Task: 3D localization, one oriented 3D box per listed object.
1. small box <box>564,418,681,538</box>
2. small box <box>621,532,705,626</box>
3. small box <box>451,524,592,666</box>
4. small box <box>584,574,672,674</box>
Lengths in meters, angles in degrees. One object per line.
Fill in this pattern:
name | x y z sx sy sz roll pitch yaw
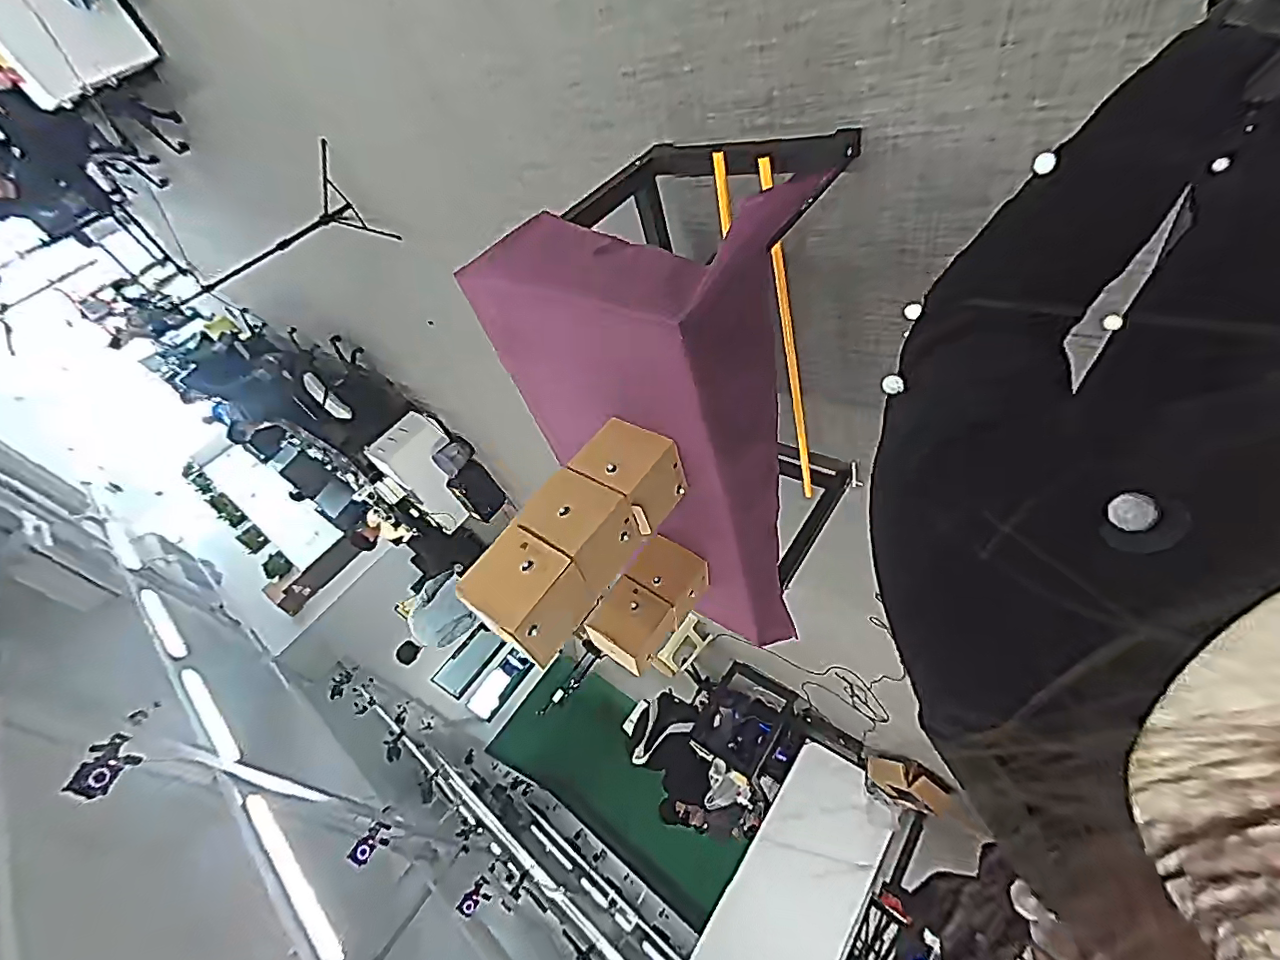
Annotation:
small box | -0.027 -0.010 1.177 0.179 0.176 0.168 25 152 33
small box | 0.074 0.275 1.529 0.179 0.176 0.168 28 153 25
small box | -0.216 0.217 1.038 0.168 0.176 0.179 25 152 30
small box | -0.025 0.386 1.458 0.168 0.176 0.179 28 152 23
